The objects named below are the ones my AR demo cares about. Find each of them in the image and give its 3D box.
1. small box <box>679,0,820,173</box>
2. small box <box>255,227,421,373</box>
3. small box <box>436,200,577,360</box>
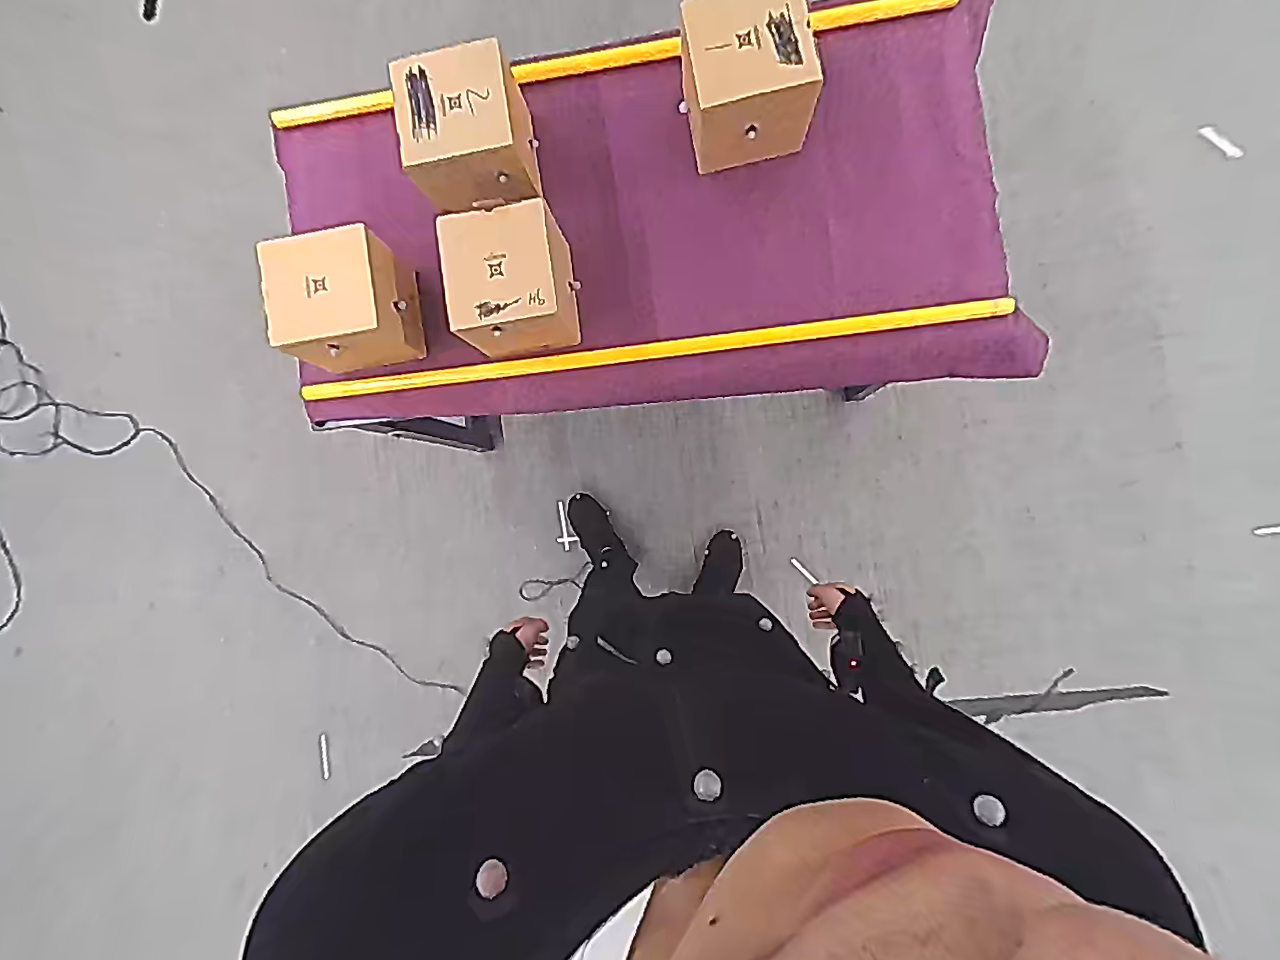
[{"bbox_3d":[0.160,-0.614,0.834,0.179,0.176,0.168,-10,88,7],"label":"small box"},{"bbox_3d":[-0.482,-0.285,0.891,0.179,0.176,0.168,-9,87,5],"label":"small box"},{"bbox_3d":[-0.204,-0.308,0.864,0.168,0.176,0.179,-8,87,6],"label":"small box"}]
